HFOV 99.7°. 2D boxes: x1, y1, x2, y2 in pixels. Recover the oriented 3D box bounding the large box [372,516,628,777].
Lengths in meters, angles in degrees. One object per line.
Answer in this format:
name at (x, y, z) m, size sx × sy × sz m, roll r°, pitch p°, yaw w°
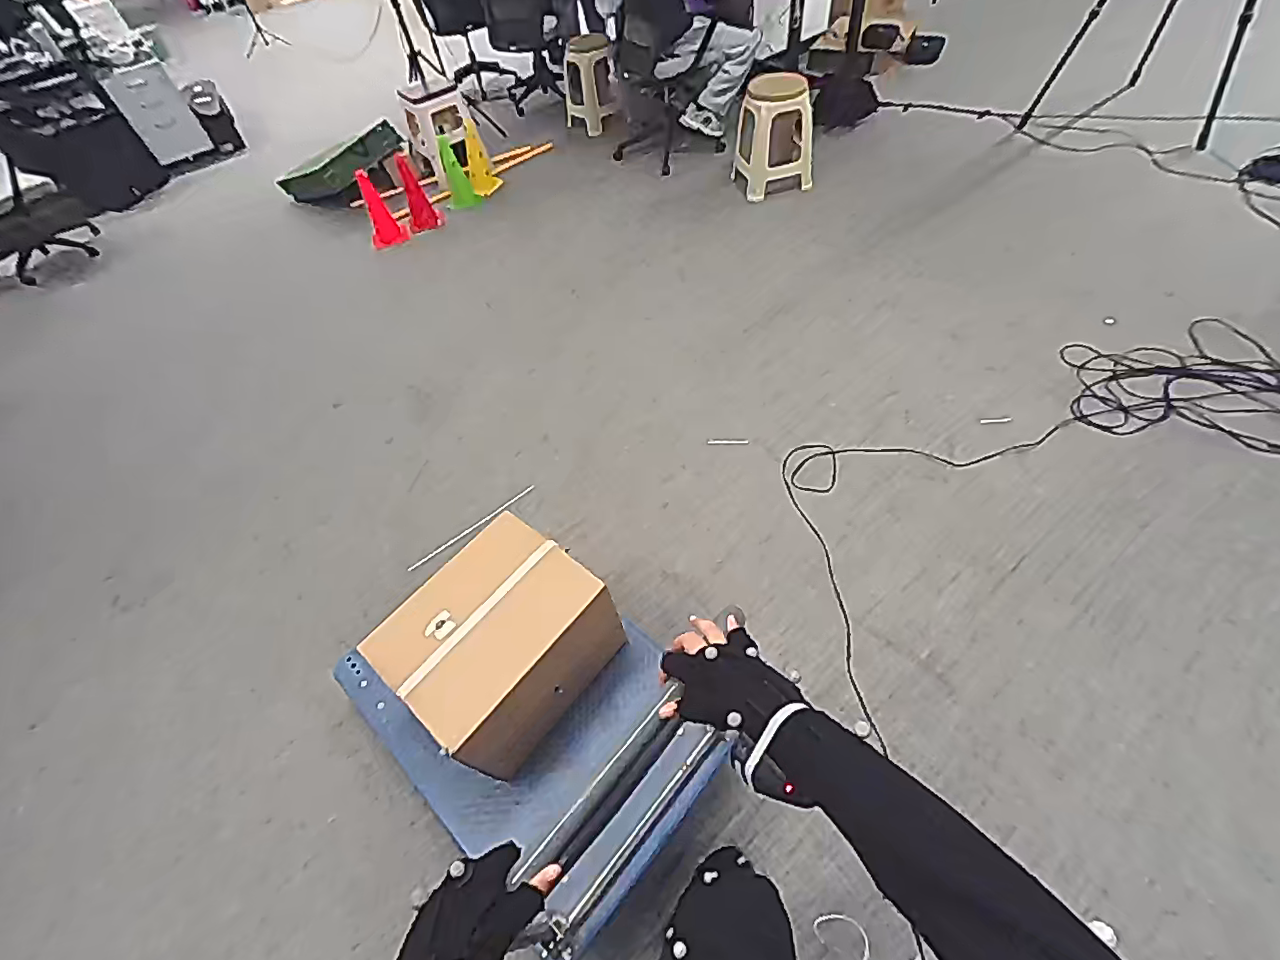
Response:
large box at (-0.281, 0.368, 1.209) m, size 0.320 × 0.320 × 0.408 m, roll 30°, pitch 64°, yaw 28°
